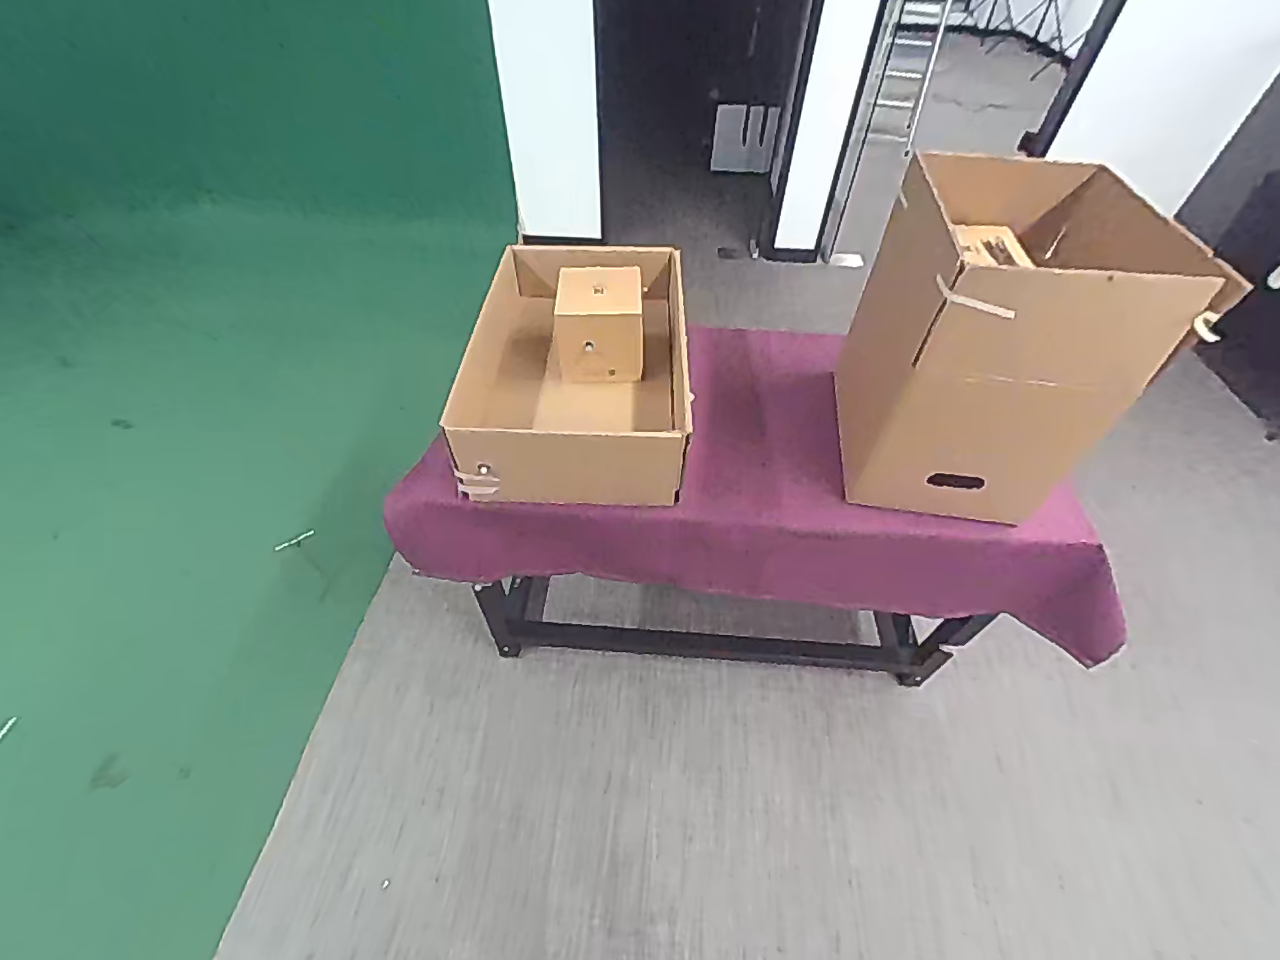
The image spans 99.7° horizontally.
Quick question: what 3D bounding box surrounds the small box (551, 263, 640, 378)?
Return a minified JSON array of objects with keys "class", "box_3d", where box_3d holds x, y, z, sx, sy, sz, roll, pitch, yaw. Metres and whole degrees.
[{"class":"small box","box_3d":[-0.085,-0.325,1.119,0.168,0.176,0.179,-2,50,-1]}]
